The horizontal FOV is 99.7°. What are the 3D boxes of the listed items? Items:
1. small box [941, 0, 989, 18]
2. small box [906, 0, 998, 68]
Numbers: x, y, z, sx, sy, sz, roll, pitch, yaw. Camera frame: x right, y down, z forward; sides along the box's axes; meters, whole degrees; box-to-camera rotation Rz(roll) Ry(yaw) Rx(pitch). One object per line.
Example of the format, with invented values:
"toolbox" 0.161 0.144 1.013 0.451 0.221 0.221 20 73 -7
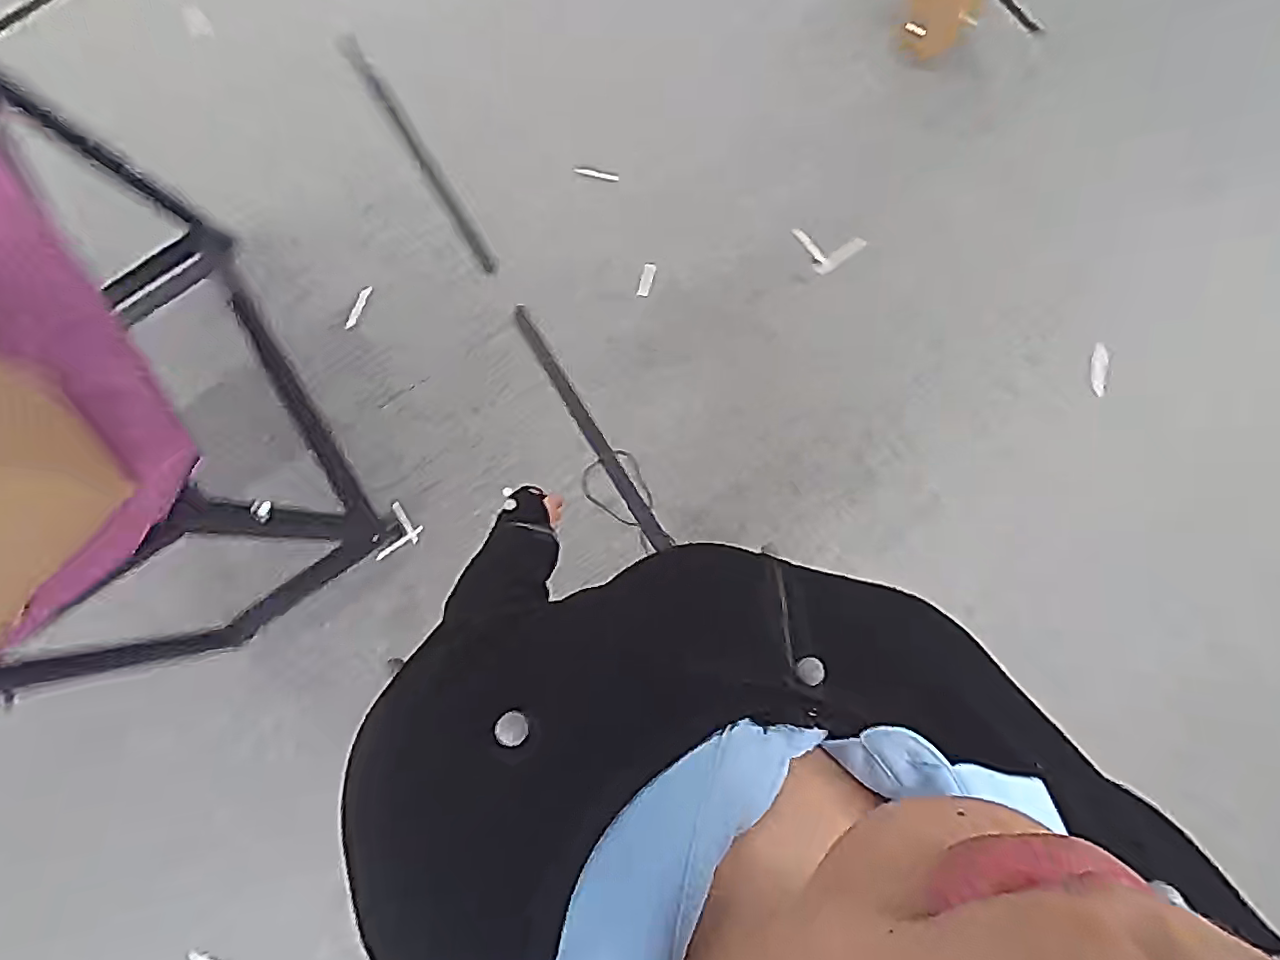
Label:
"small box" 0.923 -1.424 1.460 0.179 0.176 0.168 -35 81 -1
"small box" 0.933 -1.399 1.621 0.179 0.176 0.168 -36 81 -3
